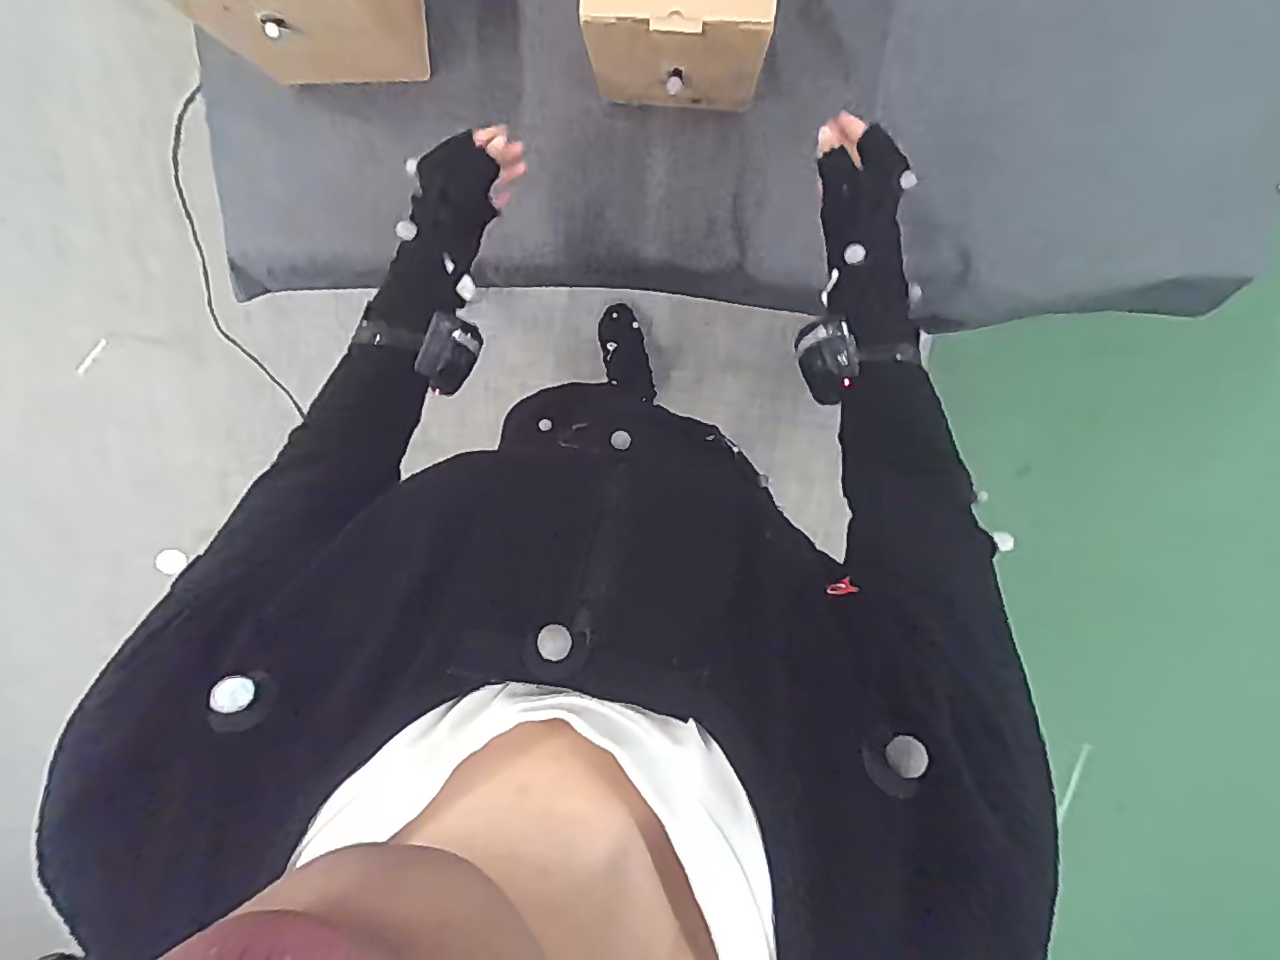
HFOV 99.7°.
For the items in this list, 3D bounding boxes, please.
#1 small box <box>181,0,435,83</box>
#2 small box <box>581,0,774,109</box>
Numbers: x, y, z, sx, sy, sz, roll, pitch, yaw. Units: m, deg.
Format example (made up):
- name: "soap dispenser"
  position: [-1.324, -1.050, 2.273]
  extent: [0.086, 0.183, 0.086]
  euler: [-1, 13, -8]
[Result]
- name: "small box"
  position: [-0.325, -0.519, 0.529]
  extent: [0.179, 0.176, 0.168]
  euler: [1, 104, 3]
- name: "small box"
  position: [0.044, -0.484, 0.514]
  extent: [0.168, 0.176, 0.179]
  euler: [5, 105, 3]
